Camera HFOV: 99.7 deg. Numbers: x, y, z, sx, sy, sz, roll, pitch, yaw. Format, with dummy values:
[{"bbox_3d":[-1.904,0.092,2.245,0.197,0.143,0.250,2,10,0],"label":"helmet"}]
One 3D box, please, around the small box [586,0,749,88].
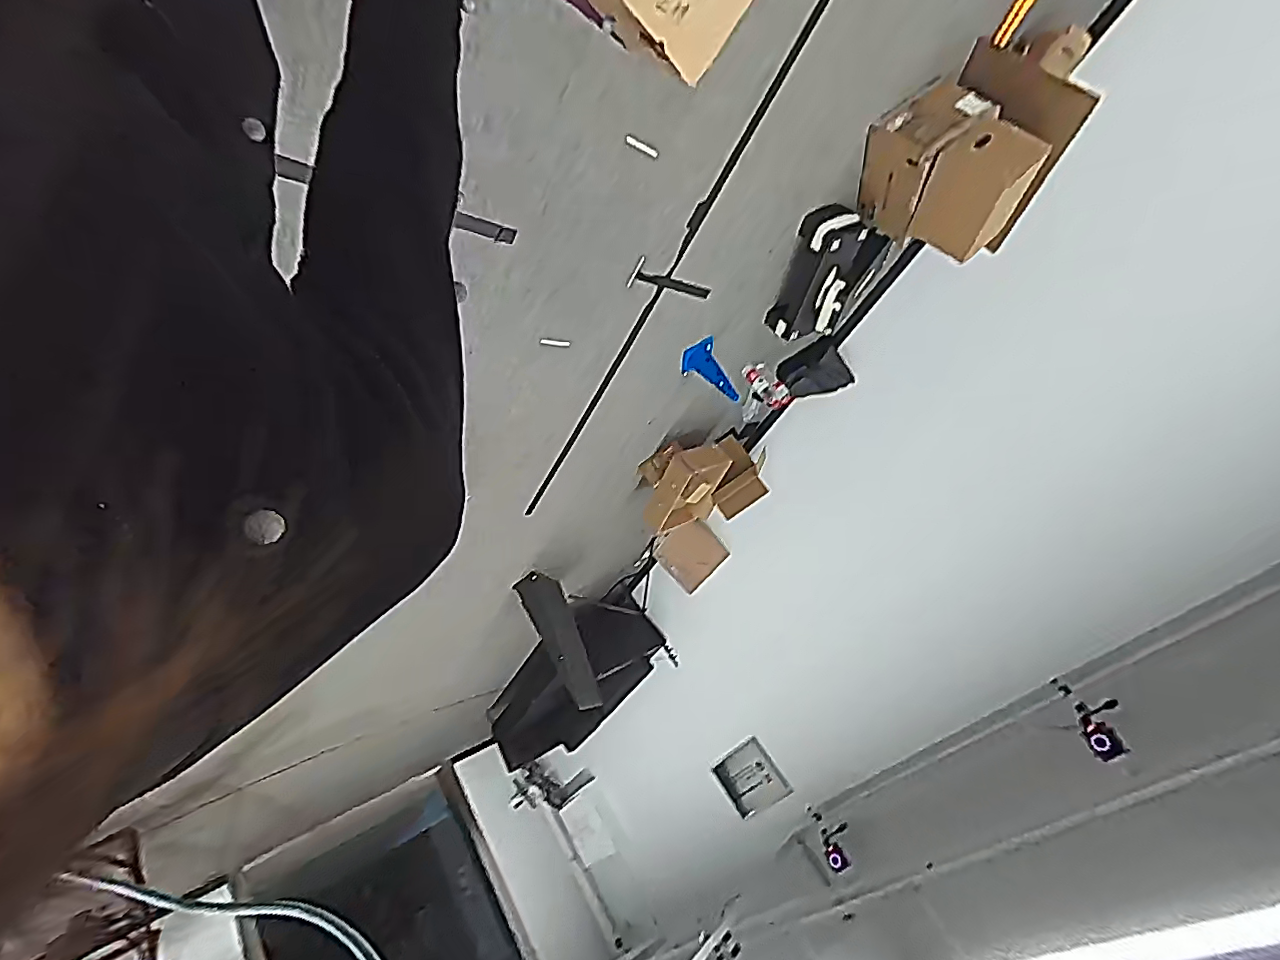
[{"bbox_3d":[0.028,-0.655,0.672,0.179,0.176,0.168,-49,152,23],"label":"small box"}]
